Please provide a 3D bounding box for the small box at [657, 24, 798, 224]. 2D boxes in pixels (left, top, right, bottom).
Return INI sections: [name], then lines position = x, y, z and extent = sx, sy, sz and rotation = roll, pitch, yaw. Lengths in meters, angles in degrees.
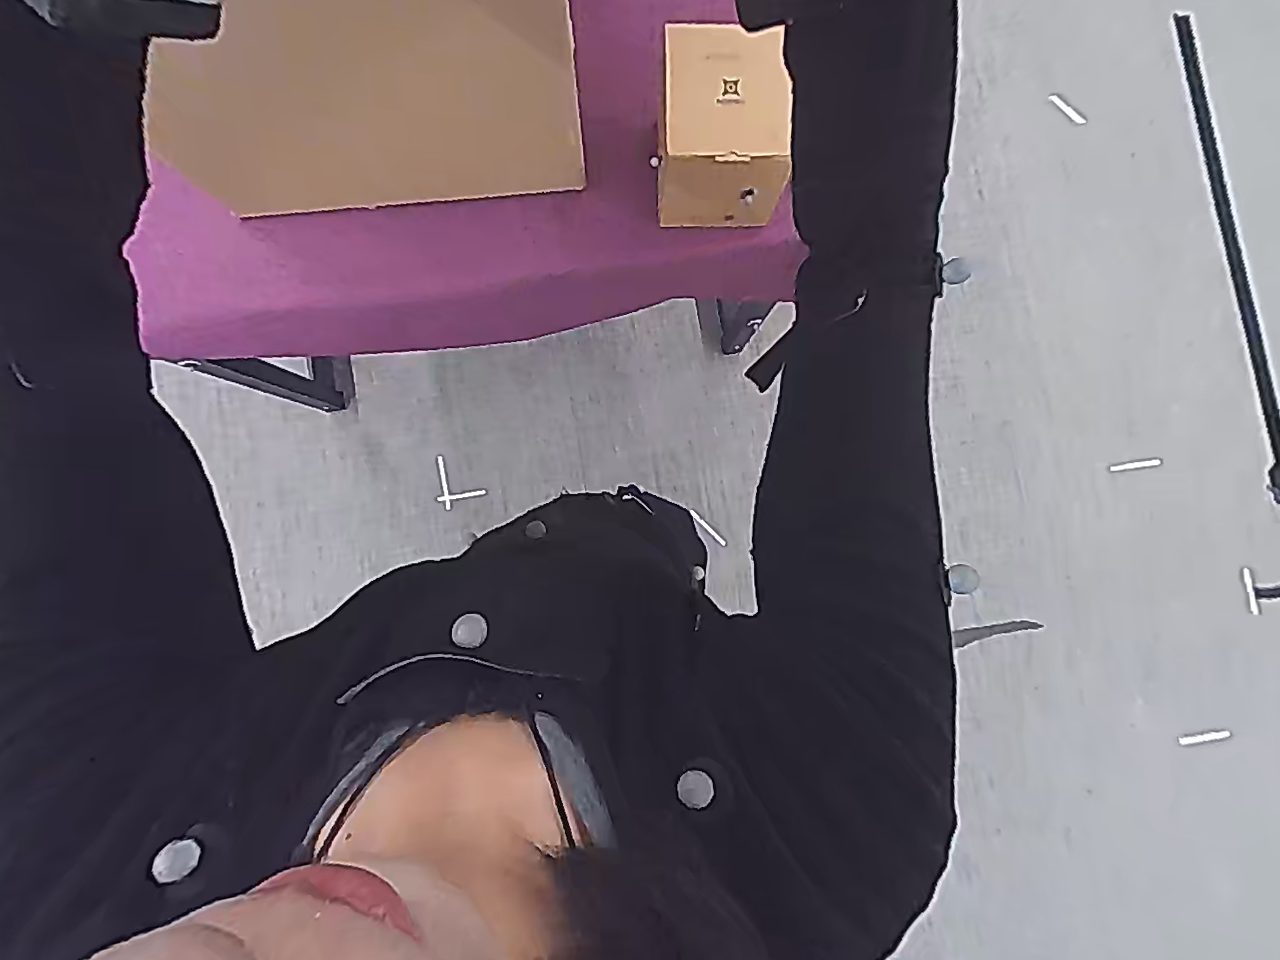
[small box]
position = 0.113, -0.481, 0.754
extent = 0.168, 0.176, 0.179
rotation = -1, 85, -3
